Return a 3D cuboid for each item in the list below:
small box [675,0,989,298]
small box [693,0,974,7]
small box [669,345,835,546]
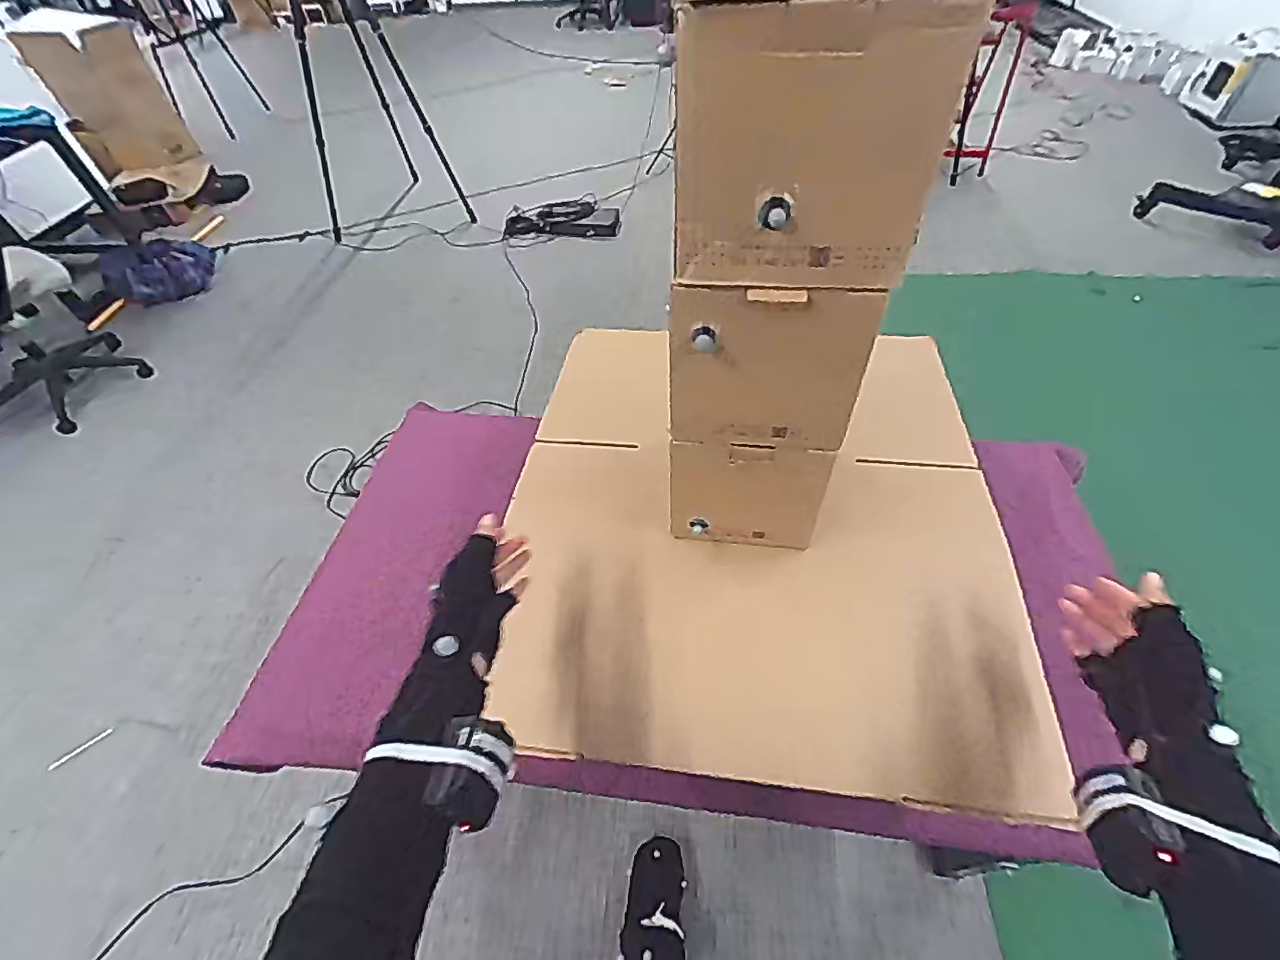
[{"bbox_3d":[0.114,-0.258,0.403,0.168,0.176,0.179,3,49,7],"label":"small box"},{"bbox_3d":[0.107,-0.365,0.279,0.168,0.176,0.179,2,49,6],"label":"small box"},{"bbox_3d":[0.127,-0.040,0.647,0.168,0.176,0.179,4,49,8],"label":"small box"}]
